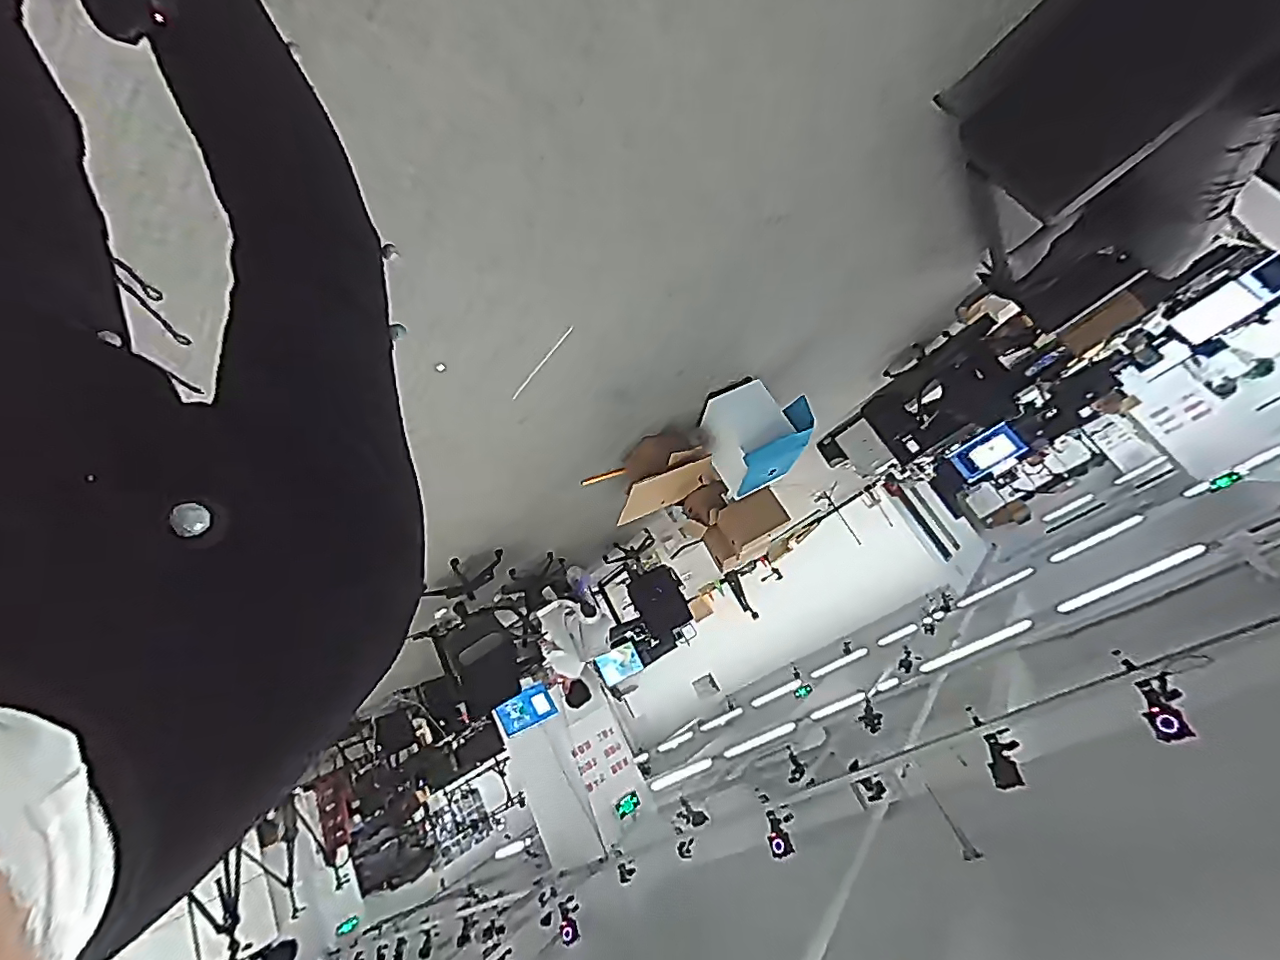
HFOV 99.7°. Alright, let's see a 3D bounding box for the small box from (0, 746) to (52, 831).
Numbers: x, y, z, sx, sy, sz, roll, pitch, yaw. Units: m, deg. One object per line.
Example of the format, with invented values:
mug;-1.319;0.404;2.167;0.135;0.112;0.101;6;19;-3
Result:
small box;-1.796;0.880;1.525;0.179;0.176;0.168;-41;158;32
